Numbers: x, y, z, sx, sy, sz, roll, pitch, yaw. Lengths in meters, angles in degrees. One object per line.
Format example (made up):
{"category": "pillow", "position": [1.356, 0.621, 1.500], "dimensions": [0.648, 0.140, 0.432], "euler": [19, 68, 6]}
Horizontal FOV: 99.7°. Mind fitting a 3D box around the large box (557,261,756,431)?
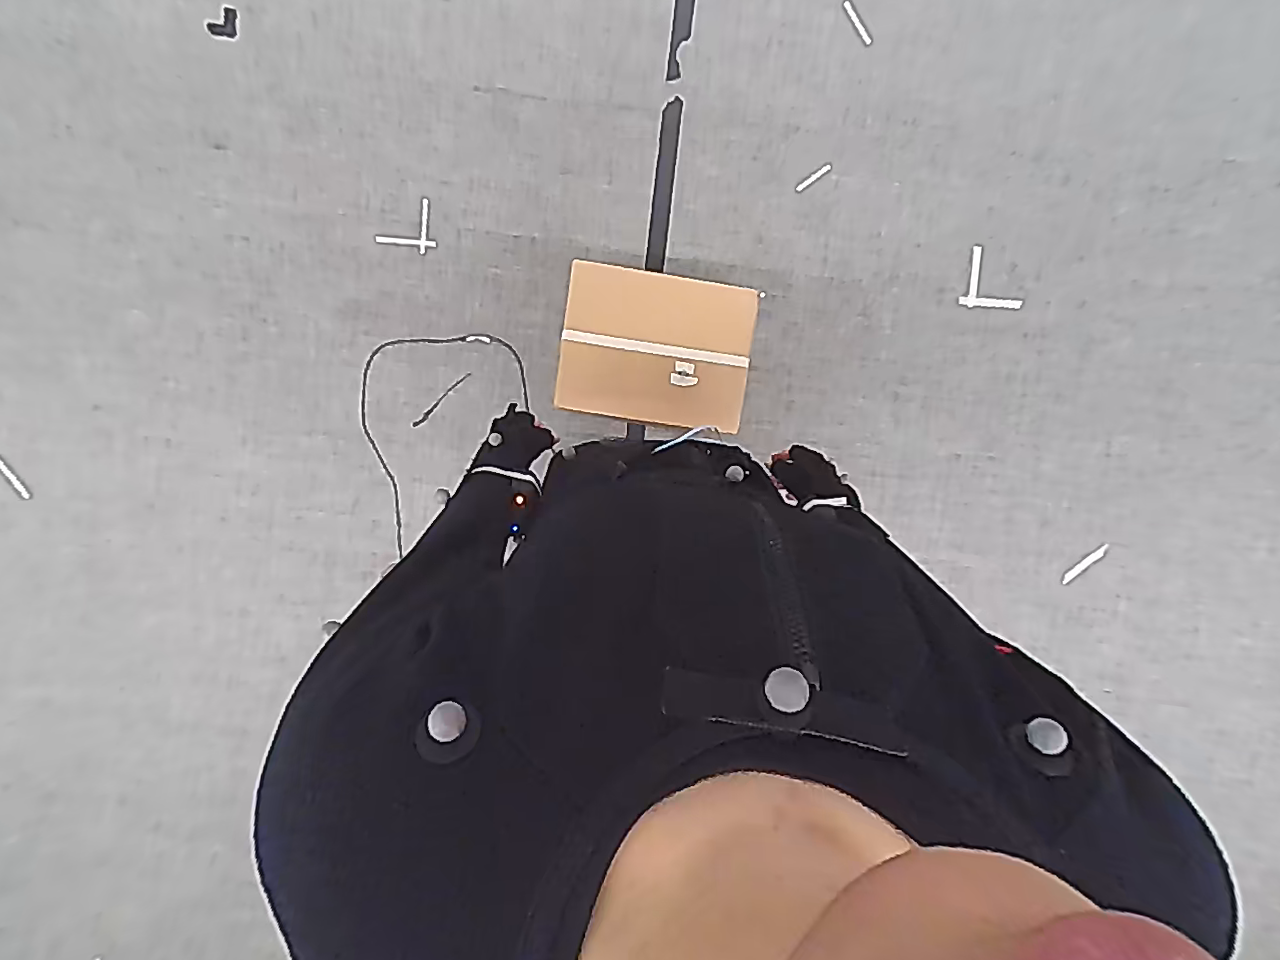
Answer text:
{"category": "large box", "position": [0.026, -0.300, 1.314], "dimensions": [0.408, 0.320, 0.320], "euler": [9, 95, -4]}
